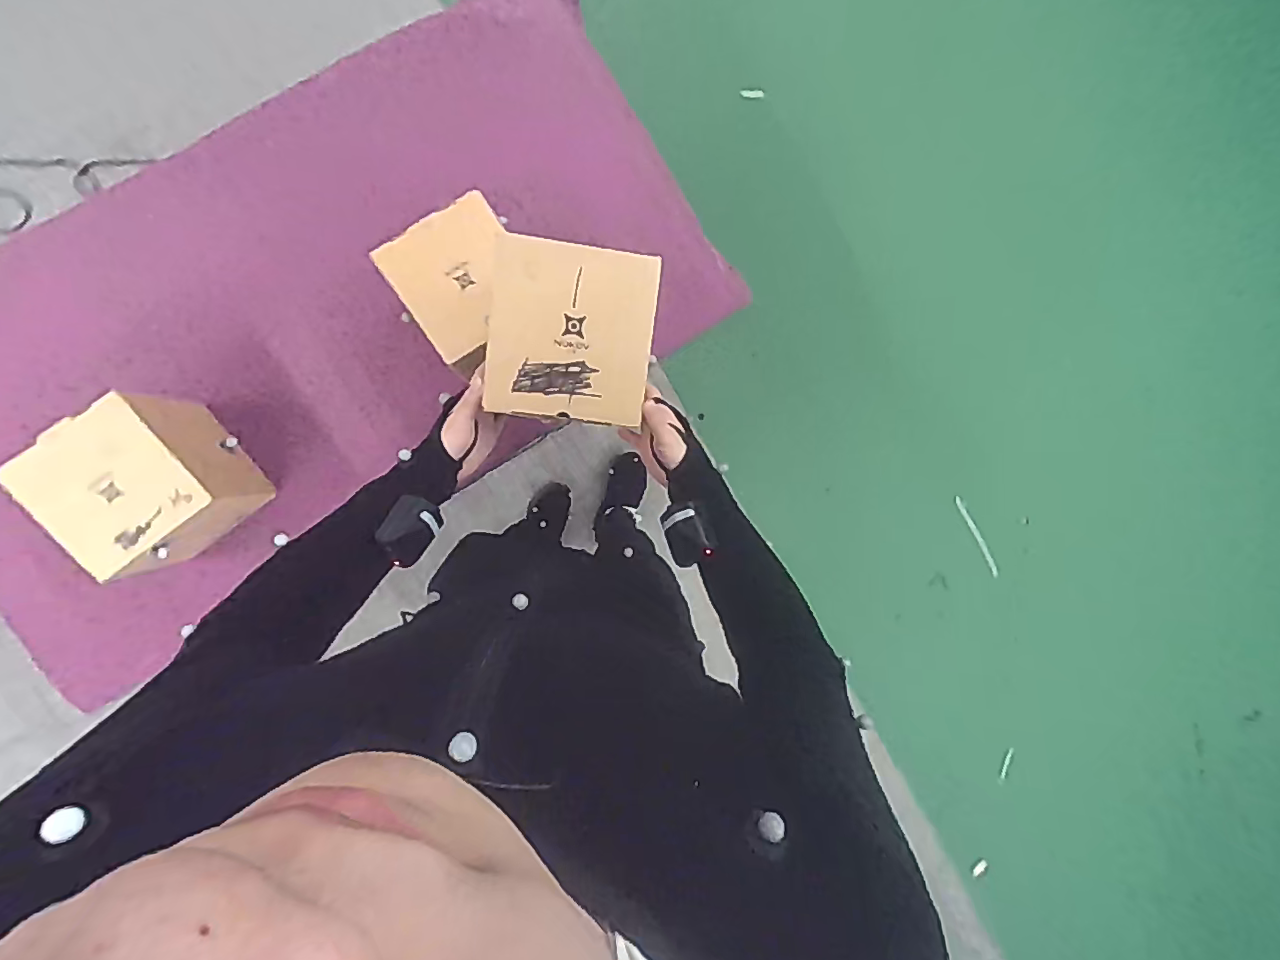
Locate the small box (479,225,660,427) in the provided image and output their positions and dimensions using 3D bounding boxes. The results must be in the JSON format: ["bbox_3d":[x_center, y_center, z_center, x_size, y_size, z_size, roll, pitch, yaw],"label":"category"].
[{"bbox_3d":[-0.080,-0.167,0.624,0.168,0.176,0.179,8,100,-8],"label":"small box"}]

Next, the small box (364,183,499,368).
[{"bbox_3d":[-0.253,-0.279,0.790,0.168,0.176,0.179,-35,96,-5],"label":"small box"}]

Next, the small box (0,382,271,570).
[{"bbox_3d":[-0.667,-0.007,0.739,0.168,0.176,0.179,-39,98,-5],"label":"small box"}]
